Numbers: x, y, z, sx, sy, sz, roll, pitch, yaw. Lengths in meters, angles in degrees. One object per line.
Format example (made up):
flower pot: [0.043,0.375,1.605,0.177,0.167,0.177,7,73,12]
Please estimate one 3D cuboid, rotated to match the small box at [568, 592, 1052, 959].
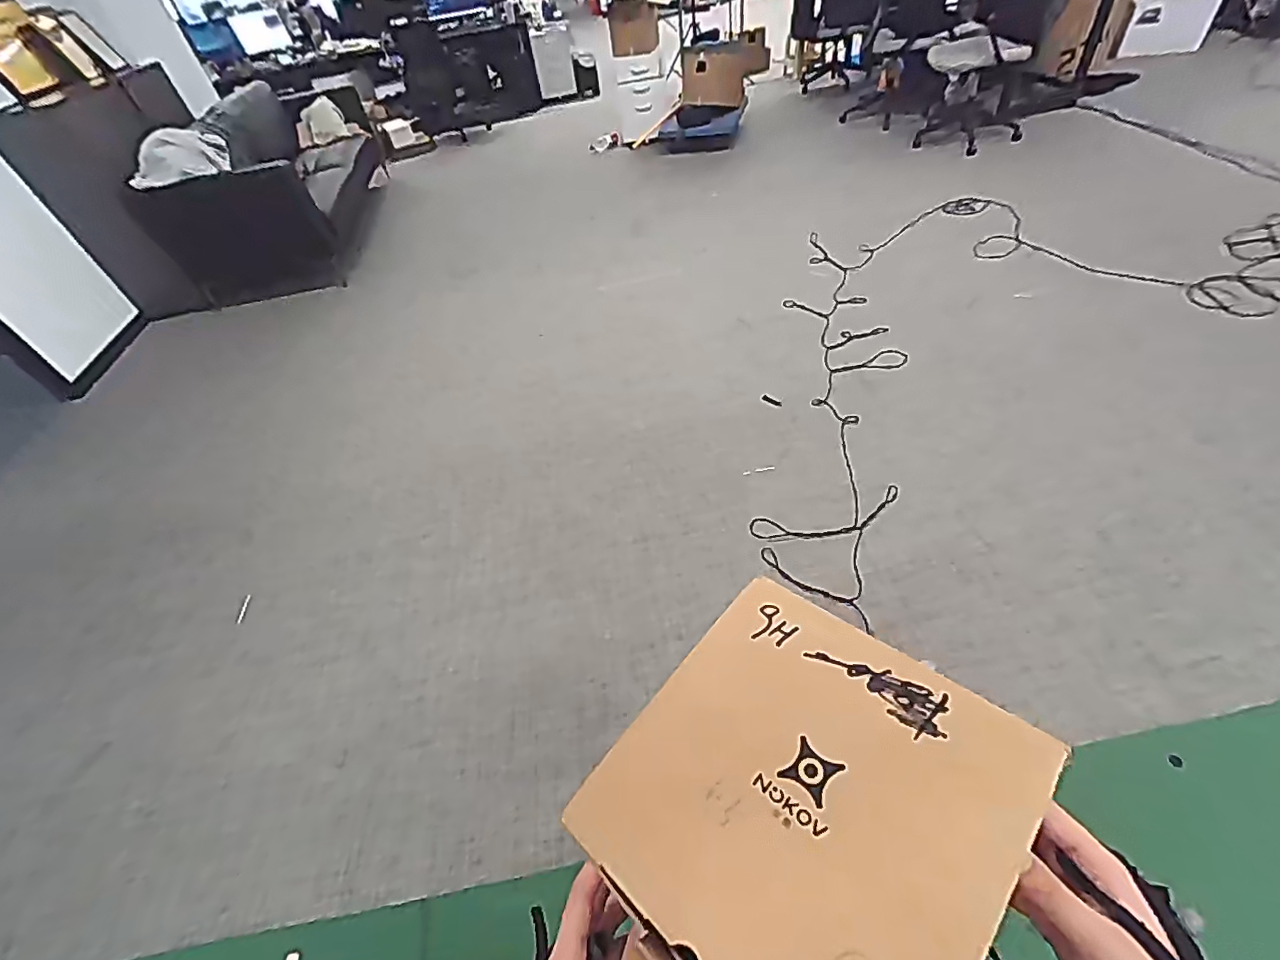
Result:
small box: [0.095,0.208,0.315,0.168,0.176,0.179,27,60,37]
